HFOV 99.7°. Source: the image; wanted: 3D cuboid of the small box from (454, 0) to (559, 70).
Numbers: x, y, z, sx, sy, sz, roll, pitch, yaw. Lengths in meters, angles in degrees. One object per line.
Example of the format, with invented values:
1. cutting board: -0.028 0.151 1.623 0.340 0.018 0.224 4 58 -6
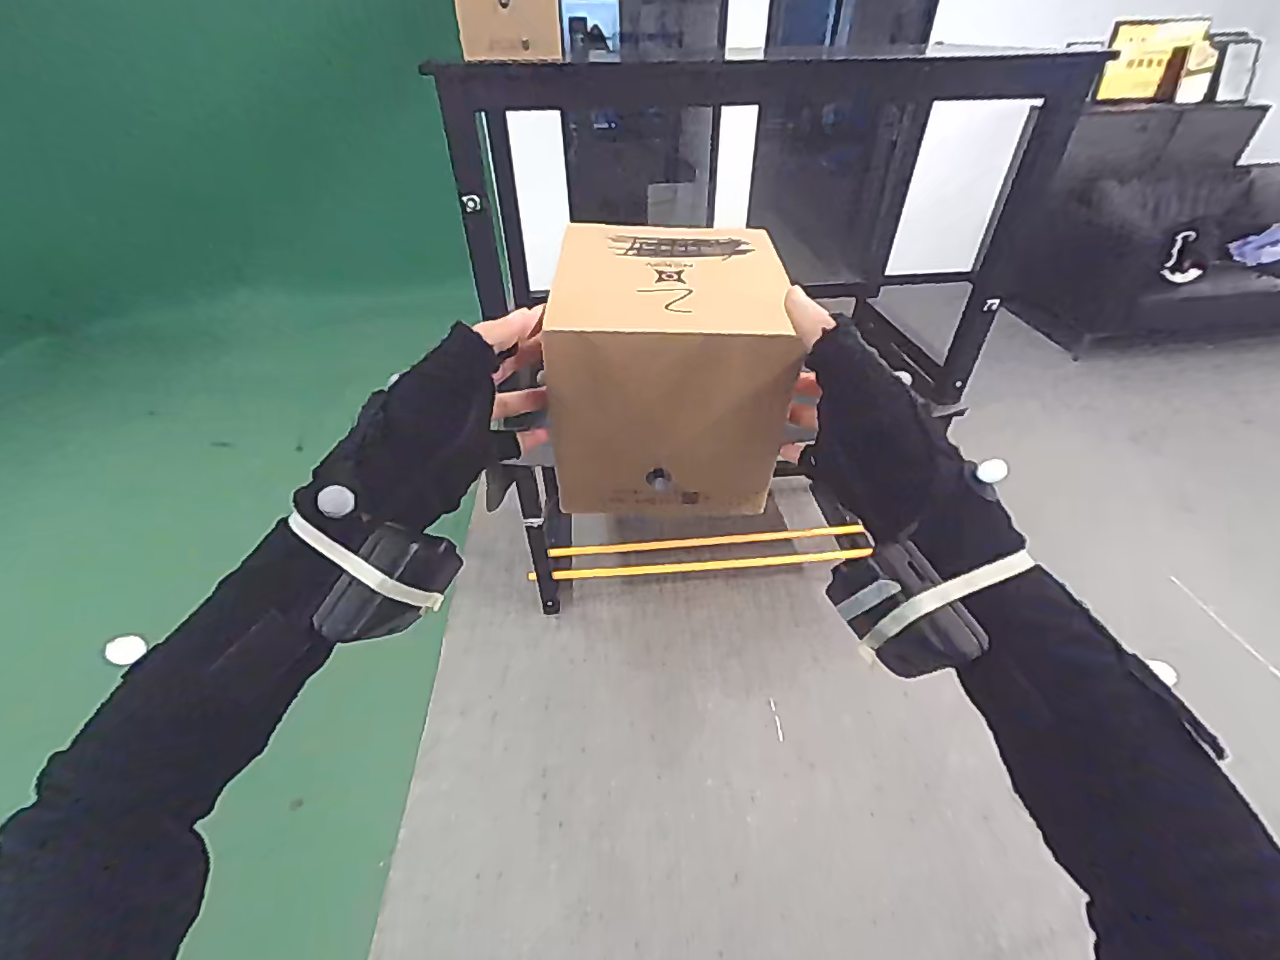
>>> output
1. small box: -0.239 -0.838 0.960 0.168 0.176 0.179 -8 39 -9
